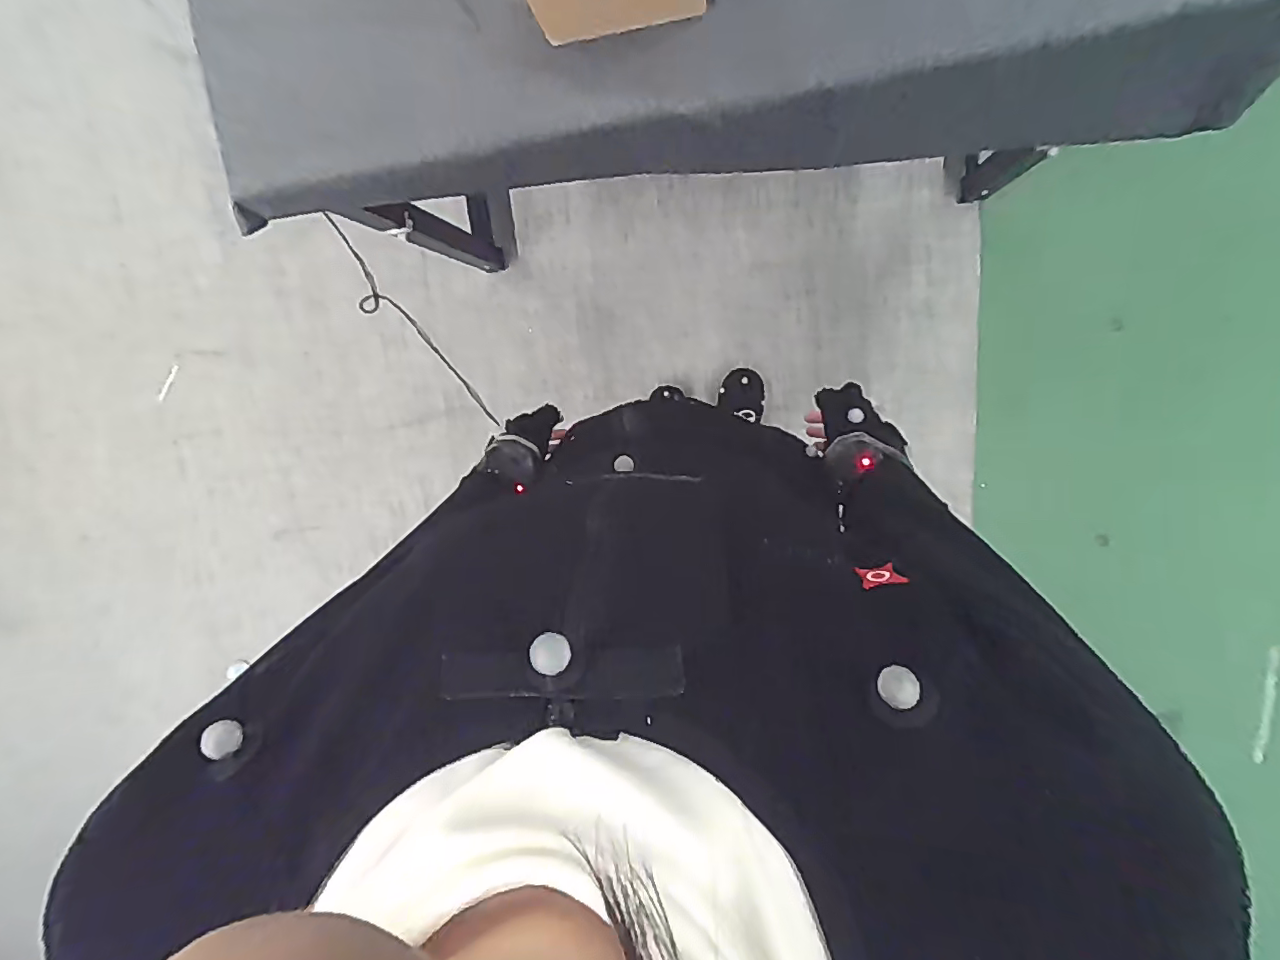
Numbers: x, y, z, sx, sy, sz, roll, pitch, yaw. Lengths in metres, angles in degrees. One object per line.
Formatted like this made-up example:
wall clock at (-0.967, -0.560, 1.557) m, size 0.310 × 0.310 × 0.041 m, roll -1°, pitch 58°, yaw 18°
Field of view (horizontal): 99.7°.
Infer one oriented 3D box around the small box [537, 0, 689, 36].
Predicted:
small box at (-0.031, -0.562, 0.498) m, size 0.179 × 0.176 × 0.168 m, roll -7°, pitch 101°, yaw 10°
